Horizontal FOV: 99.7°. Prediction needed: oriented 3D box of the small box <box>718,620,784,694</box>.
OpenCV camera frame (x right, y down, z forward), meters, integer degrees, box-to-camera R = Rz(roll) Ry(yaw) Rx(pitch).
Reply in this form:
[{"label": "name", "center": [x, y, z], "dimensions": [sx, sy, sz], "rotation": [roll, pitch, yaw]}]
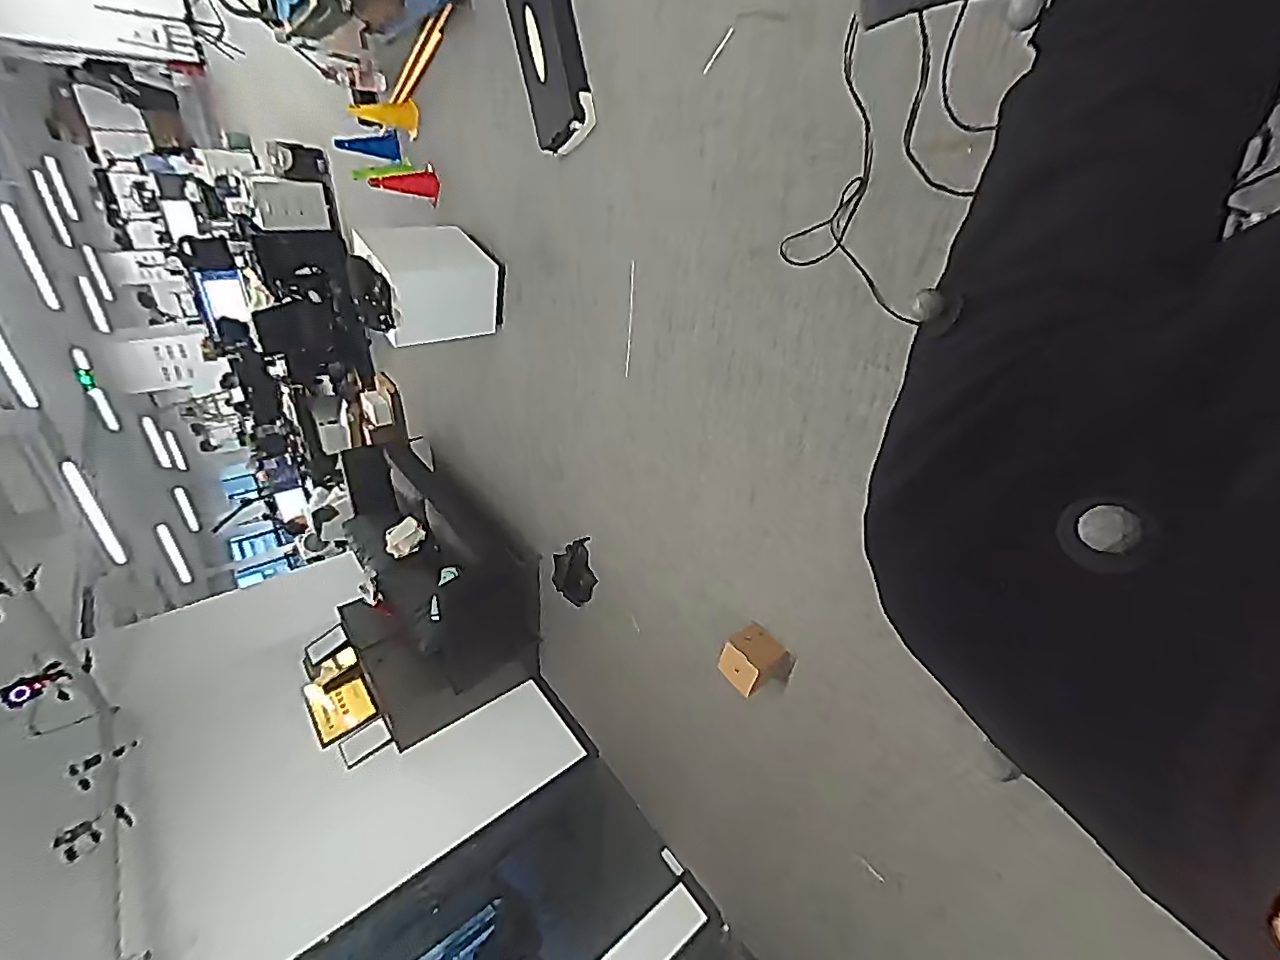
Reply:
[{"label": "small box", "center": [0.428, 0.672, 2.072], "dimensions": [0.168, 0.176, 0.179], "rotation": [41, 137, 37]}]
